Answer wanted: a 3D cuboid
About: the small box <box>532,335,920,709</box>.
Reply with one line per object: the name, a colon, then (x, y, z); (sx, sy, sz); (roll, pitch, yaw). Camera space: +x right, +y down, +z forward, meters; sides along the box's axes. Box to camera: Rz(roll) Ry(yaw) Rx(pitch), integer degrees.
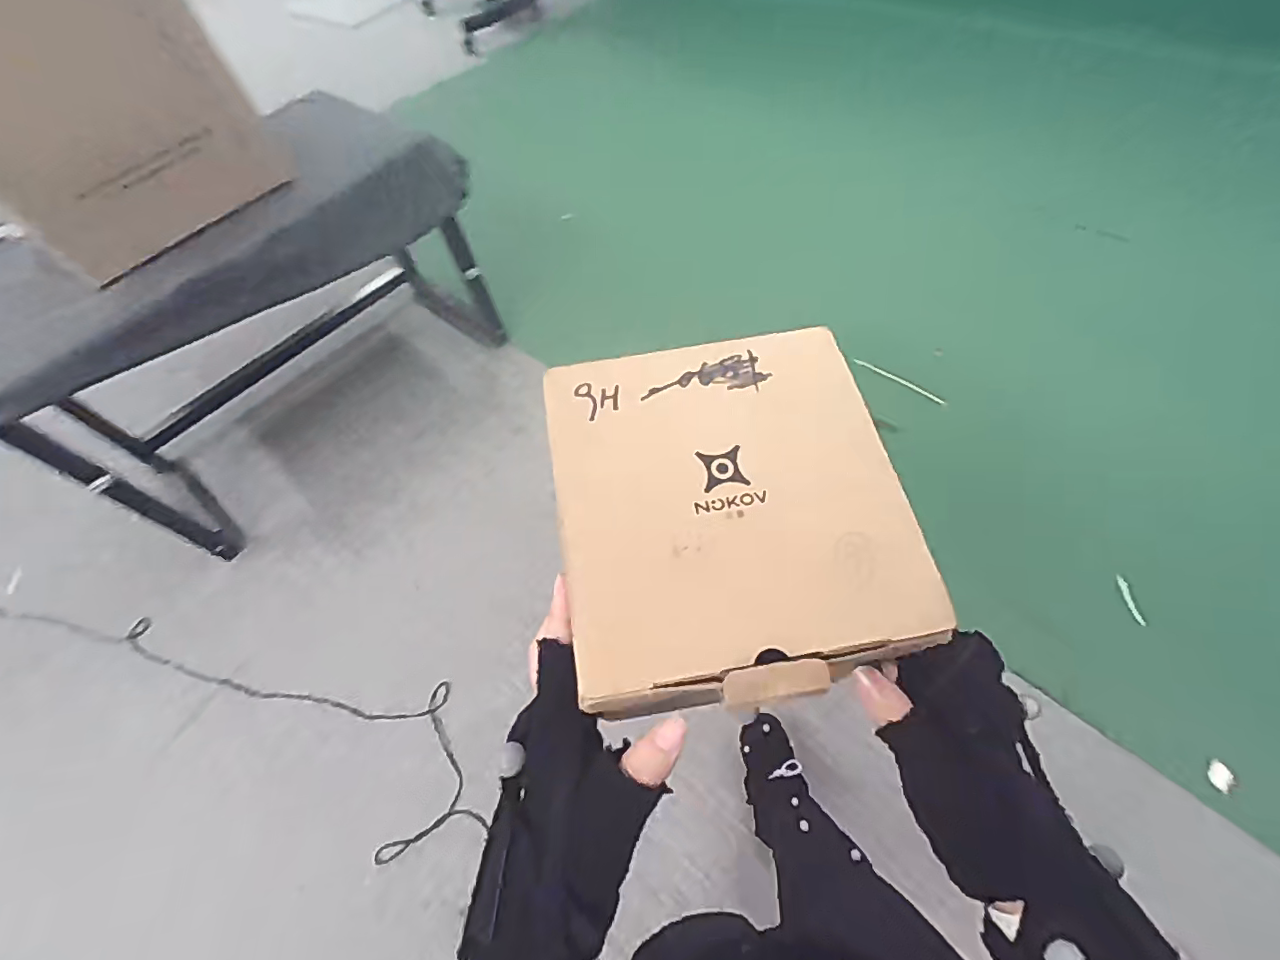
small box: (0.034, 0.040, 0.342); (0.168, 0.176, 0.179); (-9, 63, -3)
